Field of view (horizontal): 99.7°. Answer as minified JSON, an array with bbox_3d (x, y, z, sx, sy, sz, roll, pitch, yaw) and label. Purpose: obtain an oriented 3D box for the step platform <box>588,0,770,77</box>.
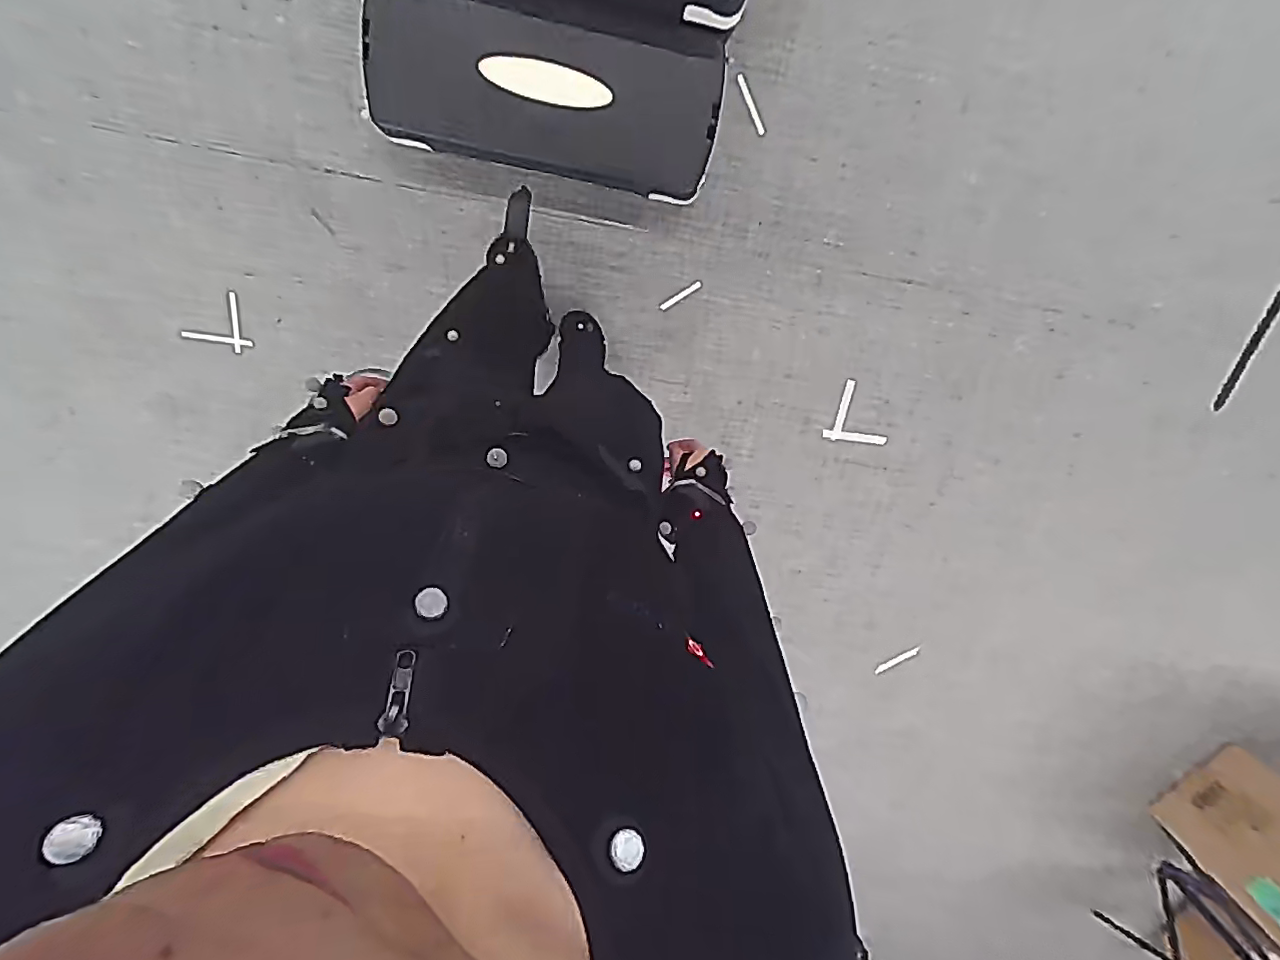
[{"bbox_3d":[-0.086,-0.973,0.925,0.684,0.204,0.286,13,111,-9],"label":"step platform"}]
